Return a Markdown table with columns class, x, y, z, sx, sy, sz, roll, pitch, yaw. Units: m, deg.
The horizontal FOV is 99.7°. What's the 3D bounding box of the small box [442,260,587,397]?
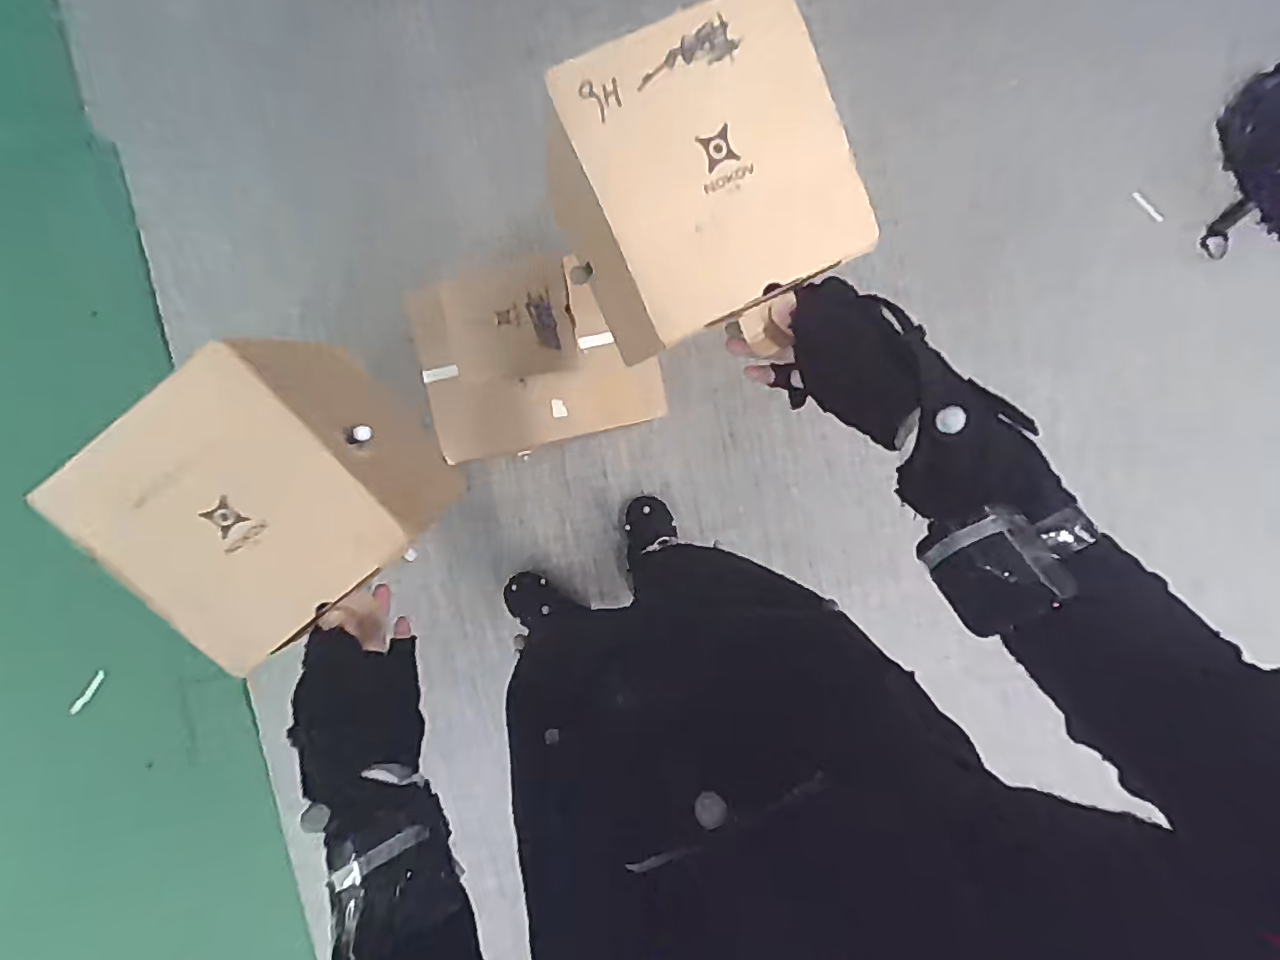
| class | x | y | z | sx | sy | sz | roll | pitch | yaw |
| --- | --- | --- | --- | --- | --- | --- | --- | --- | --- |
| small box | -0.186 | -0.231 | 0.853 | 0.179 | 0.176 | 0.168 | -13 | 100 | -3 |
